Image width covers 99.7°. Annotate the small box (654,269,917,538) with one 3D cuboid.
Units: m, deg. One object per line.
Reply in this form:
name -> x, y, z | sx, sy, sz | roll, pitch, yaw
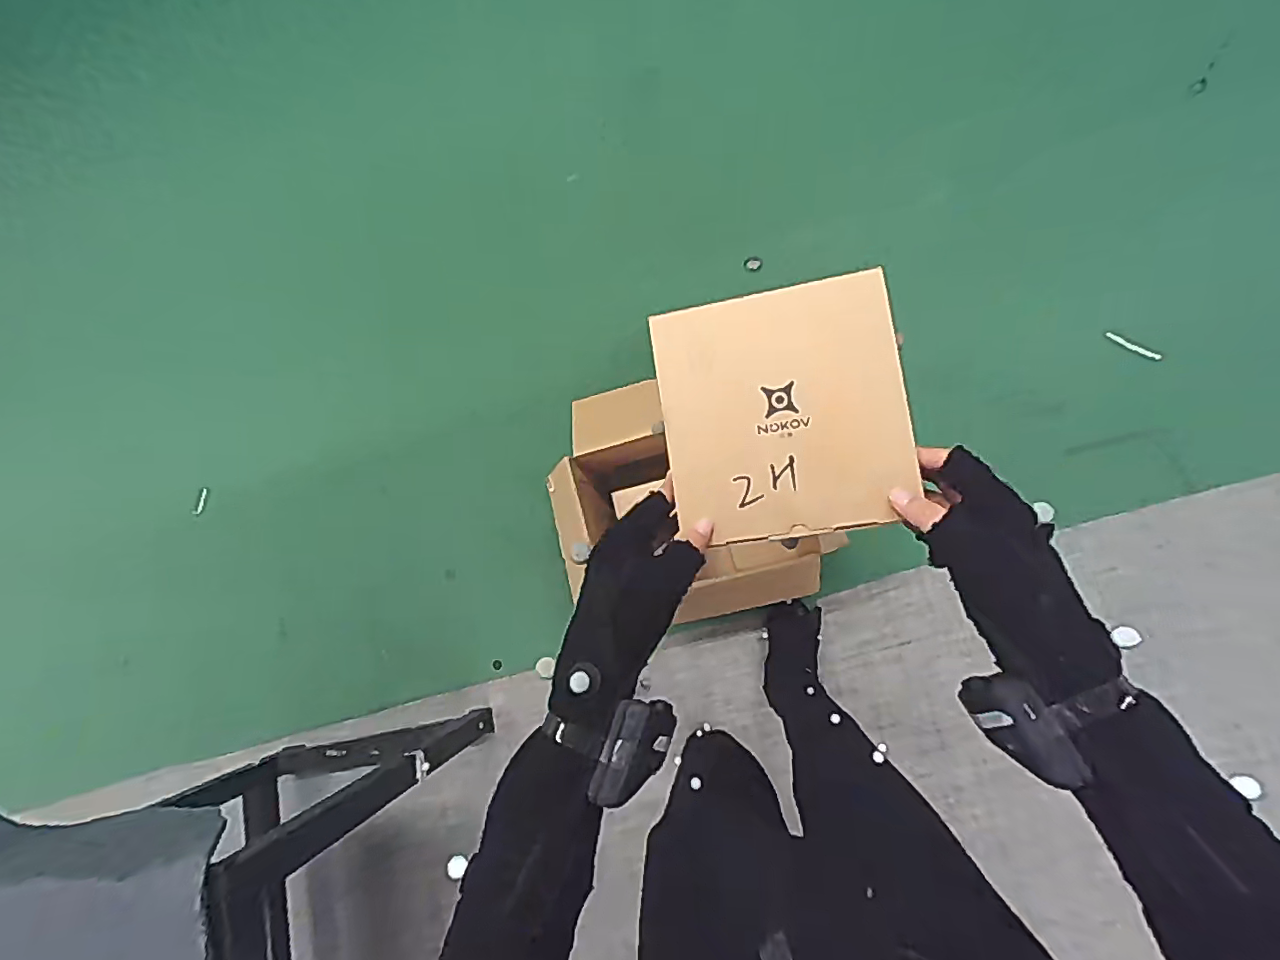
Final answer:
small box -> 0.115, -0.050, 0.469 | 0.168, 0.176, 0.179 | -10, 86, 11
